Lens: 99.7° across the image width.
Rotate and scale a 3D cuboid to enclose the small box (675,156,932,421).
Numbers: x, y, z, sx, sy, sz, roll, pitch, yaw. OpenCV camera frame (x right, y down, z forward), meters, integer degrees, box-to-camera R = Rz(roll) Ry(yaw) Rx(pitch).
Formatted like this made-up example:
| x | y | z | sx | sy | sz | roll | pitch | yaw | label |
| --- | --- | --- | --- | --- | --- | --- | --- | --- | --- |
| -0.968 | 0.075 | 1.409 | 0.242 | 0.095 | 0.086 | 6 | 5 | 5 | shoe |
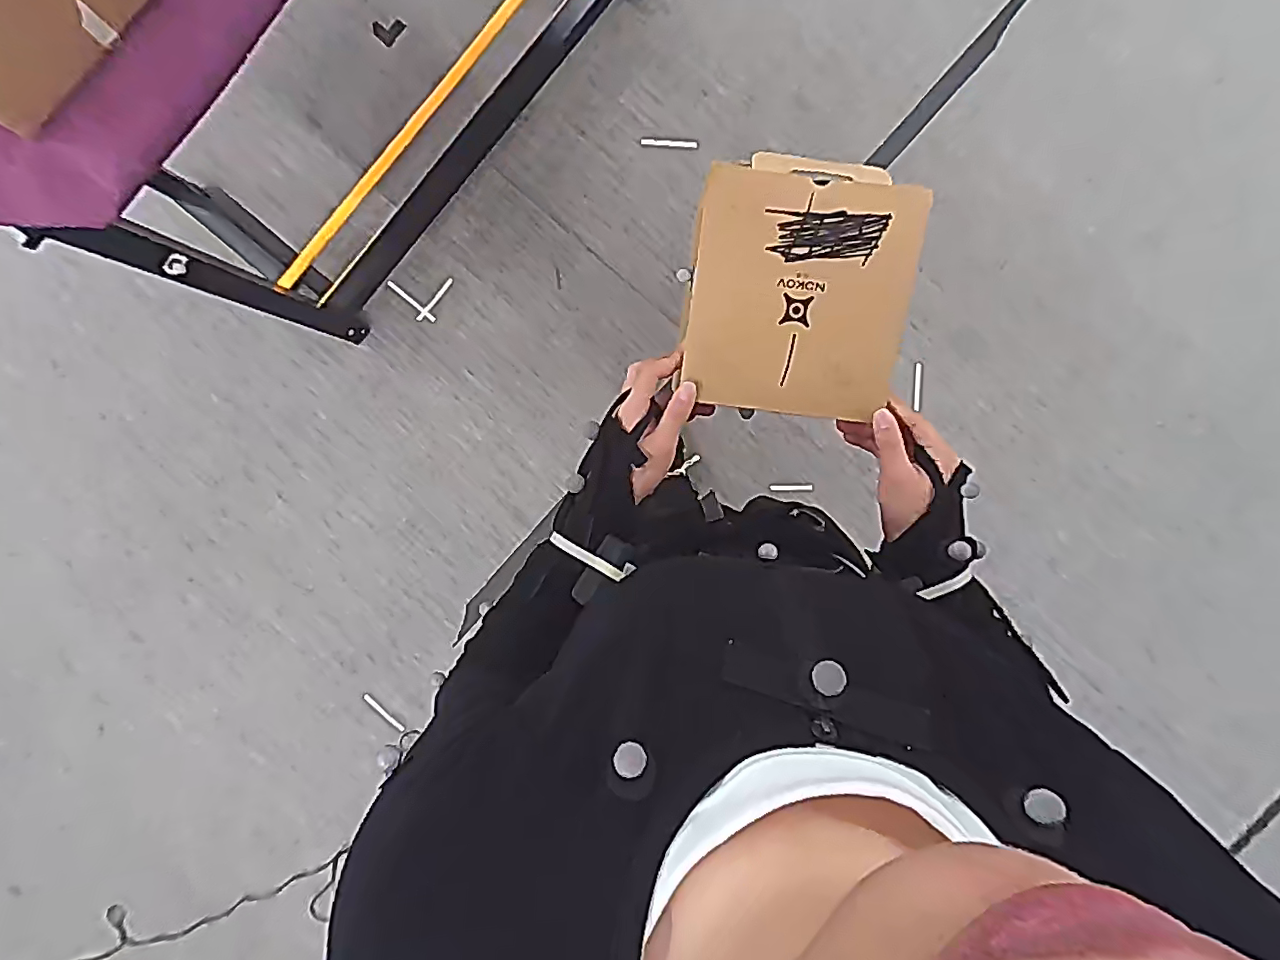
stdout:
| x | y | z | sx | sy | sz | roll | pitch | yaw | label |
| --- | --- | --- | --- | --- | --- | --- | --- | --- | --- |
| 0.124 | -0.158 | 0.488 | 0.168 | 0.176 | 0.179 | 8 | 103 | 1 | small box |
